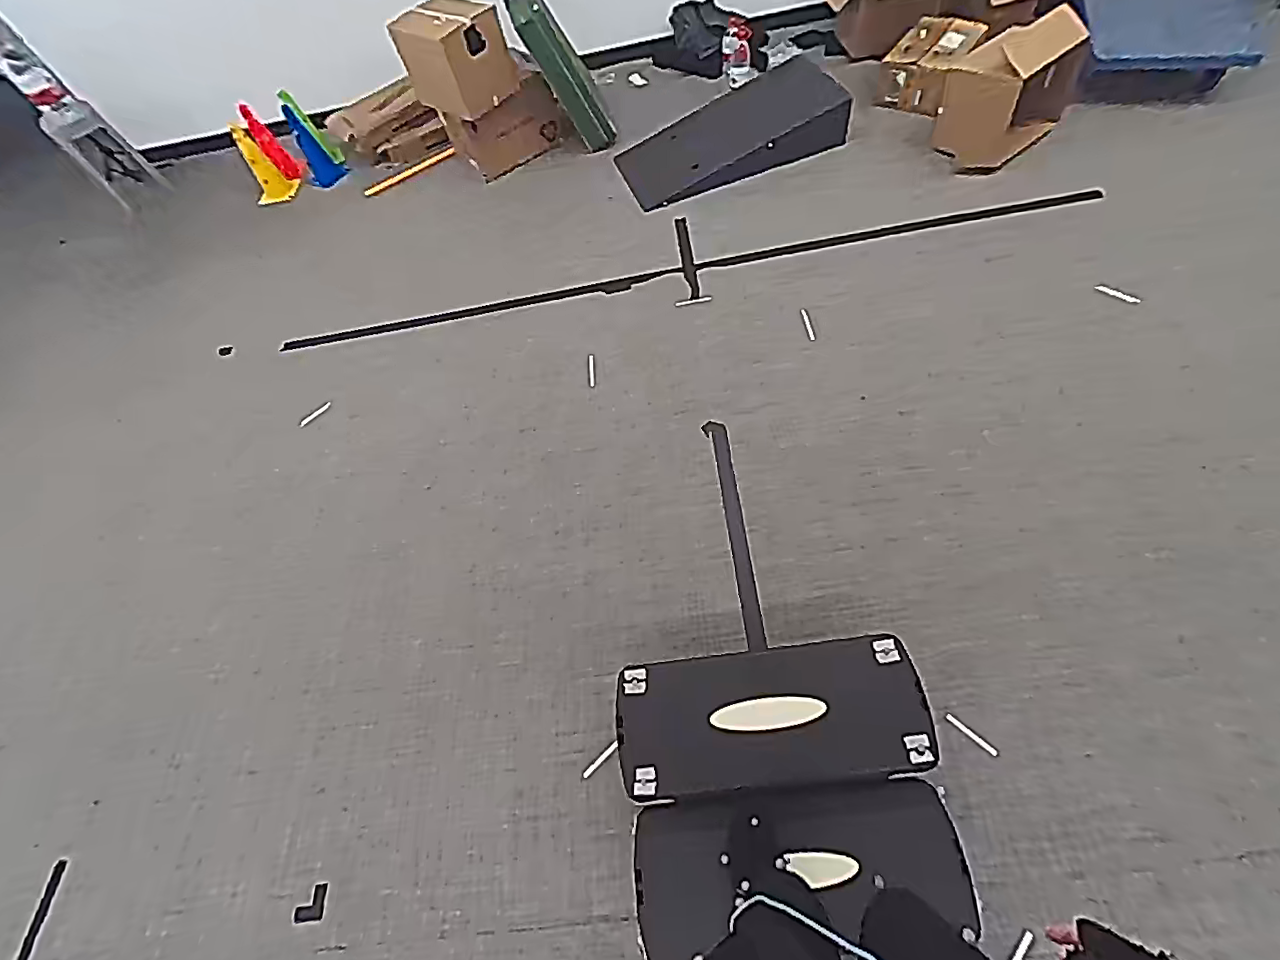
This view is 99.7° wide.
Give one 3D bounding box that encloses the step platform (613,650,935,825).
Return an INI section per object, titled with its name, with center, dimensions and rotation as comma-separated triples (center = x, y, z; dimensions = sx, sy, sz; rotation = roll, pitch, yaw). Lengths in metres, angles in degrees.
[step platform]
center = 0.279, 0.583, 1.230
dimensions = 0.684, 0.204, 0.286
rotation = -9, 59, 3
